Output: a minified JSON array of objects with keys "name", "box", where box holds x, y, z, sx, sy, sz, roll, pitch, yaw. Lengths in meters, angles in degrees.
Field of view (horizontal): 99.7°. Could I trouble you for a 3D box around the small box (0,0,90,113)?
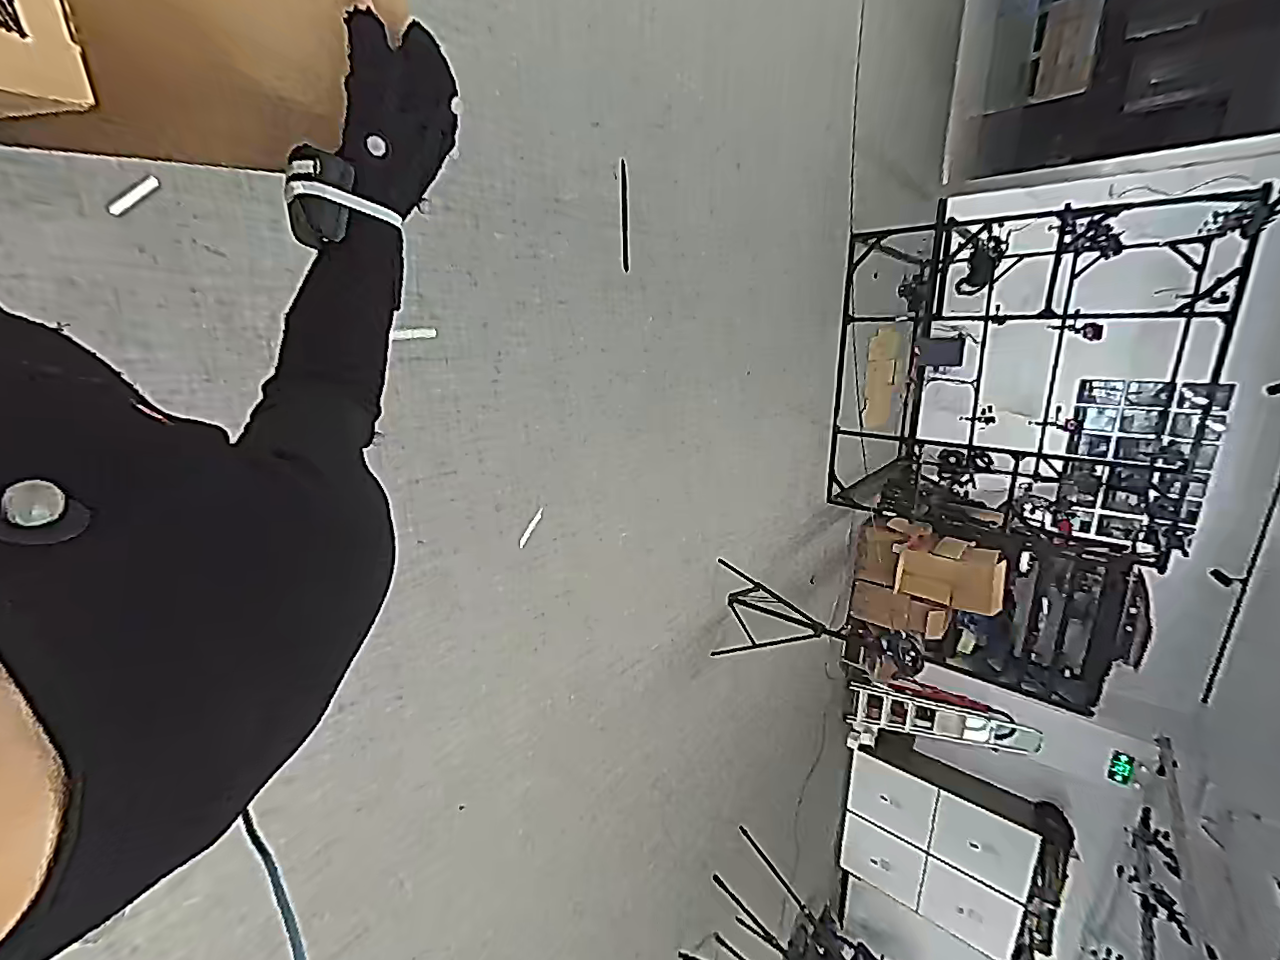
[{"name":"small box","box":[-0.432,-0.286,0.250,0.179,0.176,0.168,-38,136,-57]}]
